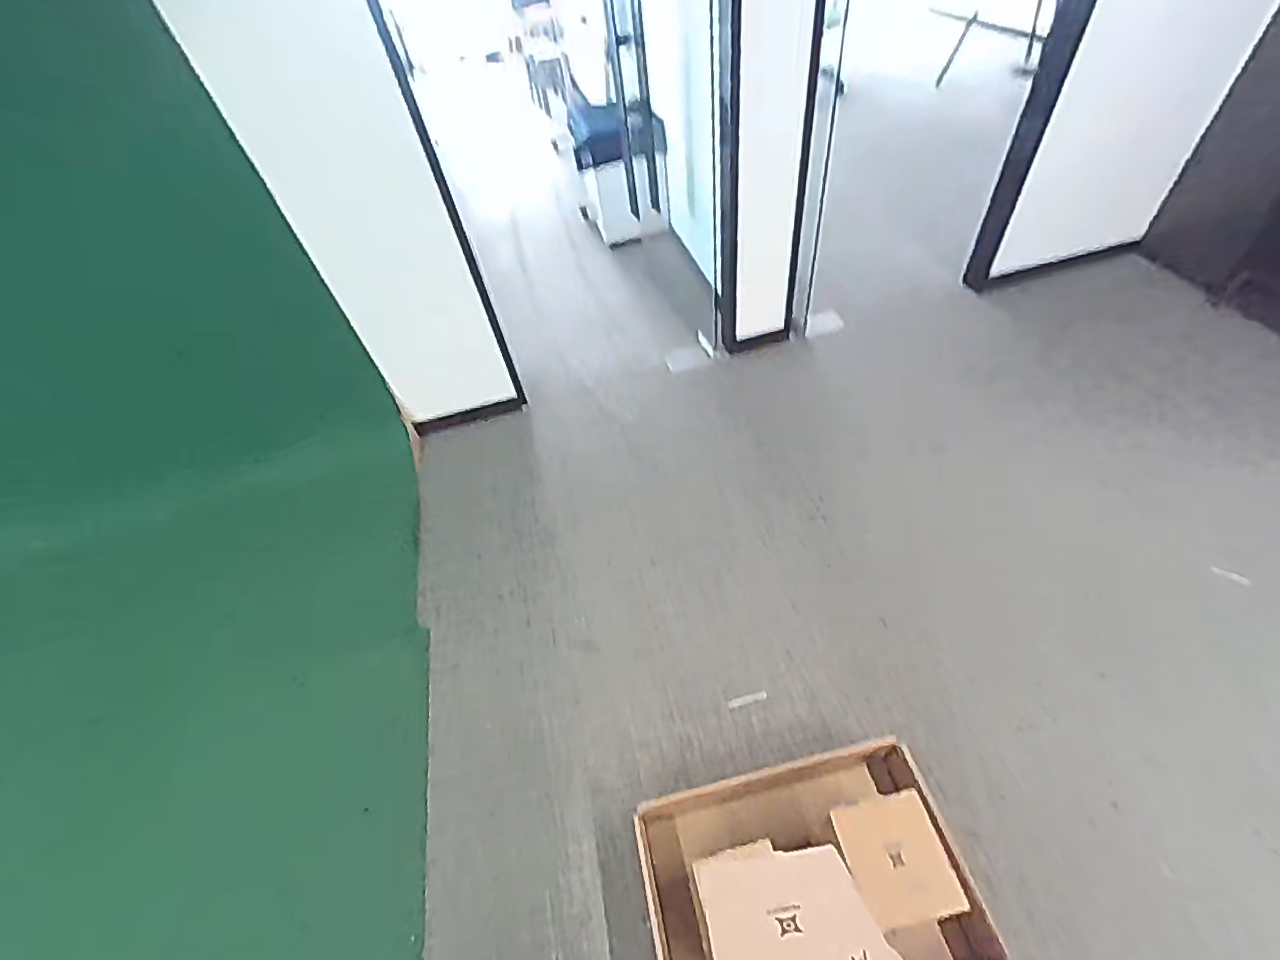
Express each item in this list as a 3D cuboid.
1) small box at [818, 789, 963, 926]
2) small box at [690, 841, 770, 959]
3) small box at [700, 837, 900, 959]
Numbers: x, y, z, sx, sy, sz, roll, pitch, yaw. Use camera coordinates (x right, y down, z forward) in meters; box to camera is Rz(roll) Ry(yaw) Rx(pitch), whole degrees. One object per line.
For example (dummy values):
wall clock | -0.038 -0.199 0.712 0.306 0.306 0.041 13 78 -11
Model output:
small box | 0.439 0.694 0.988 0.168 0.176 0.179 -13 50 -1
small box | 0.206 0.859 1.092 0.168 0.176 0.179 -13 50 -5
small box | 0.163 0.520 0.559 0.168 0.179 0.176 -9 93 -2
